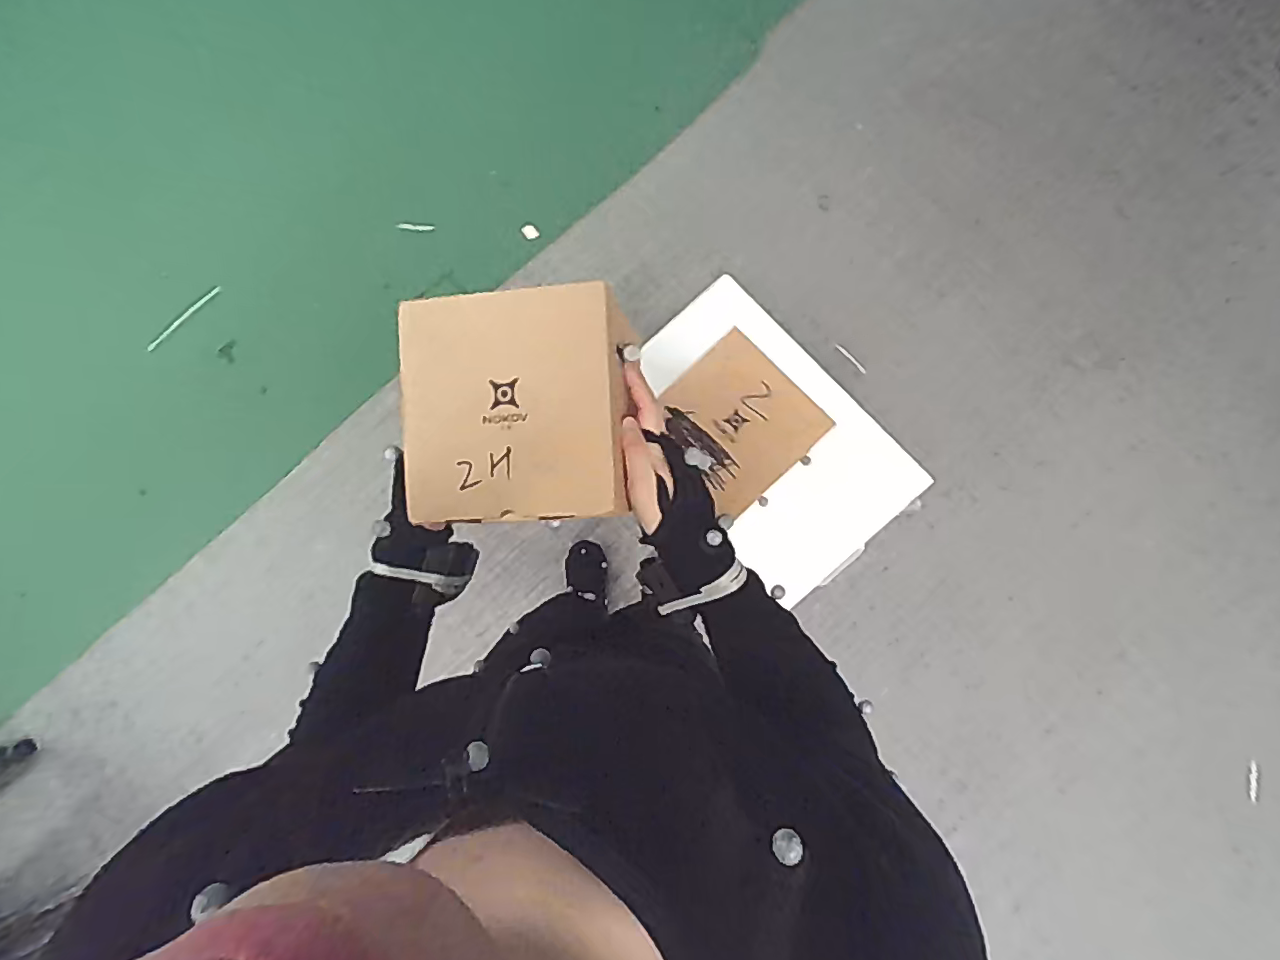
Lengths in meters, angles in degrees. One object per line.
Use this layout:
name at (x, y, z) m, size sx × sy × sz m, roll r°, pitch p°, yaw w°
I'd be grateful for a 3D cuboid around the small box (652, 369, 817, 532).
small box at (0.136, -0.035, 0.837) m, size 0.179 × 0.176 × 0.168 m, roll -42°, pitch 81°, yaw -1°

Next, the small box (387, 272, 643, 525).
small box at (-0.093, -0.056, 0.473) m, size 0.168 × 0.176 × 0.179 m, roll -5°, pitch 89°, yaw 9°
